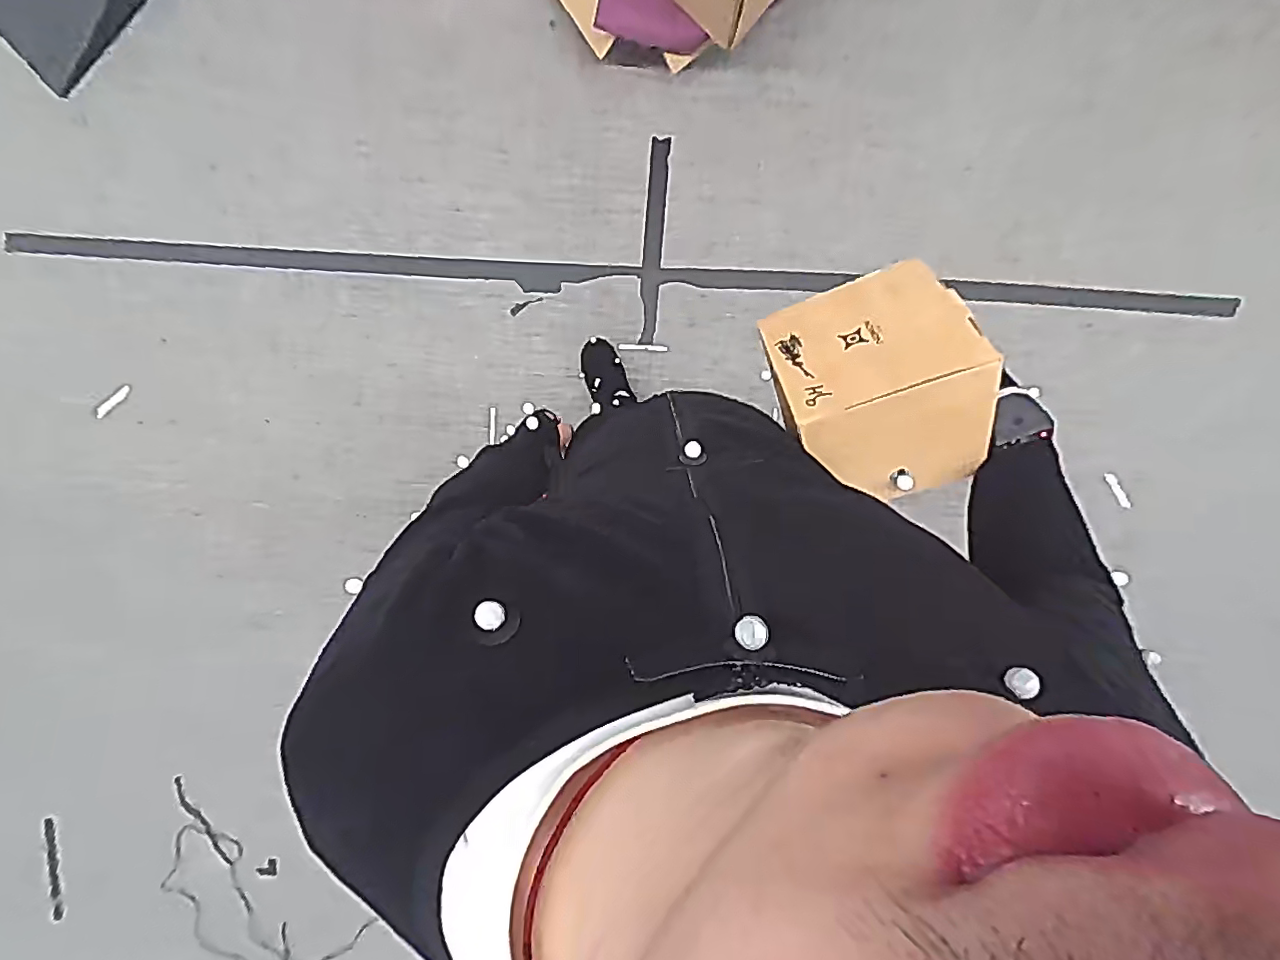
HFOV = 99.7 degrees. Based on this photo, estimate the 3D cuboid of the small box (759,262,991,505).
[{"bbox_3d":[0.248,-0.098,0.598,0.179,0.168,0.176,-18,139,13],"label":"small box"}]
